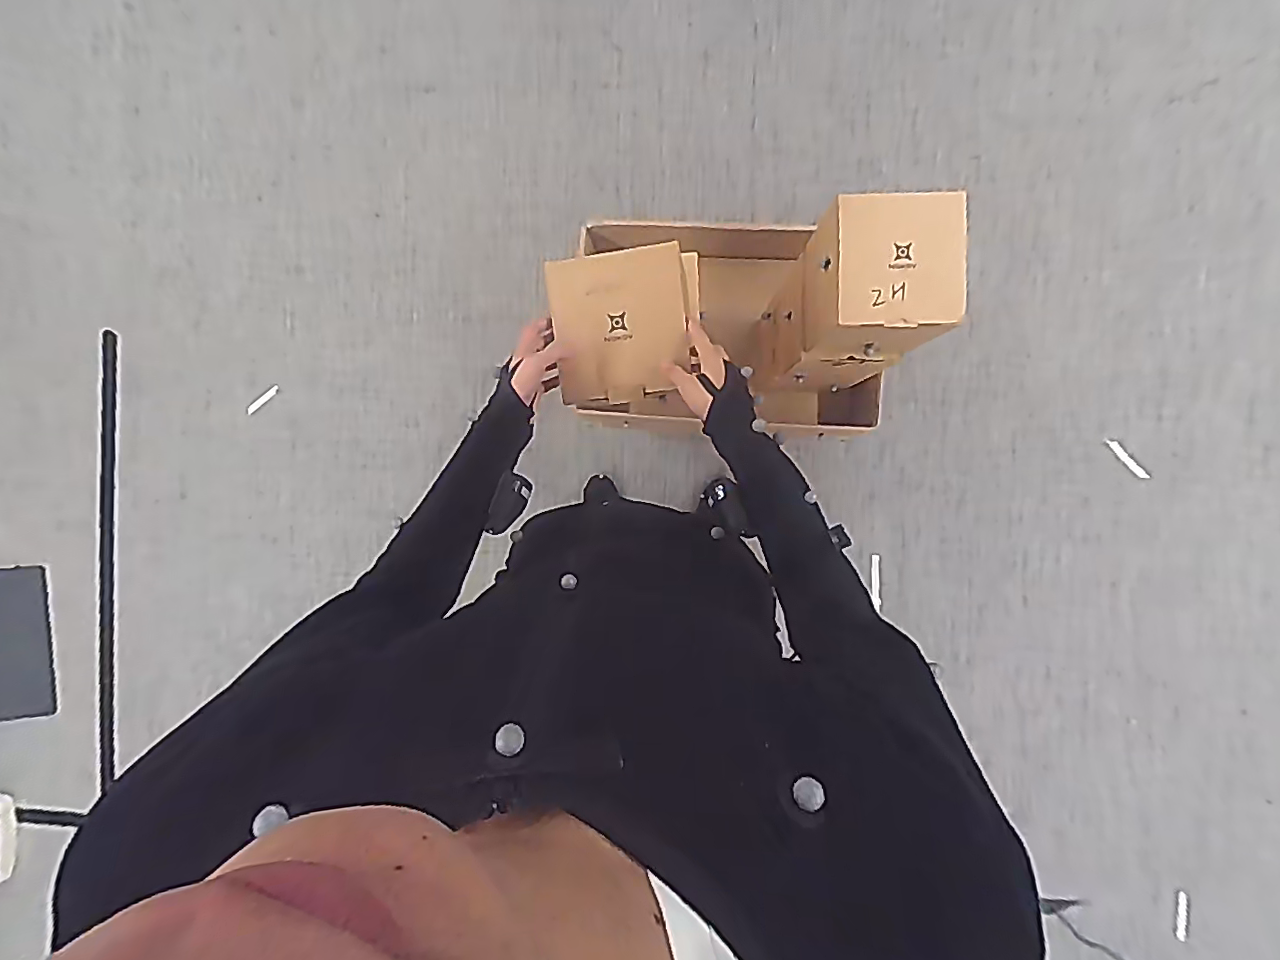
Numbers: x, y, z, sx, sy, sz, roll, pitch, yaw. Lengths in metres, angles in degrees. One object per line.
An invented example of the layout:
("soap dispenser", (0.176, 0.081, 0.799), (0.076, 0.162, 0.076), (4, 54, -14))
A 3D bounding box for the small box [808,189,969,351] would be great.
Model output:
("small box", (0.347, -0.294, 0.785), (0.168, 0.176, 0.179), (0, 92, 3))

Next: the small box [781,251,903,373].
("small box", (0.348, -0.285, 0.950), (0.168, 0.176, 0.179), (1, 91, 3))

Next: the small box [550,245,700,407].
("small box", (-0.010, -0.197, 0.733), (0.168, 0.176, 0.179), (-5, 98, 8))

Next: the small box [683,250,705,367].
("small box", (0.026, -0.291, 0.971), (0.168, 0.176, 0.179), (-3, 93, 4))
